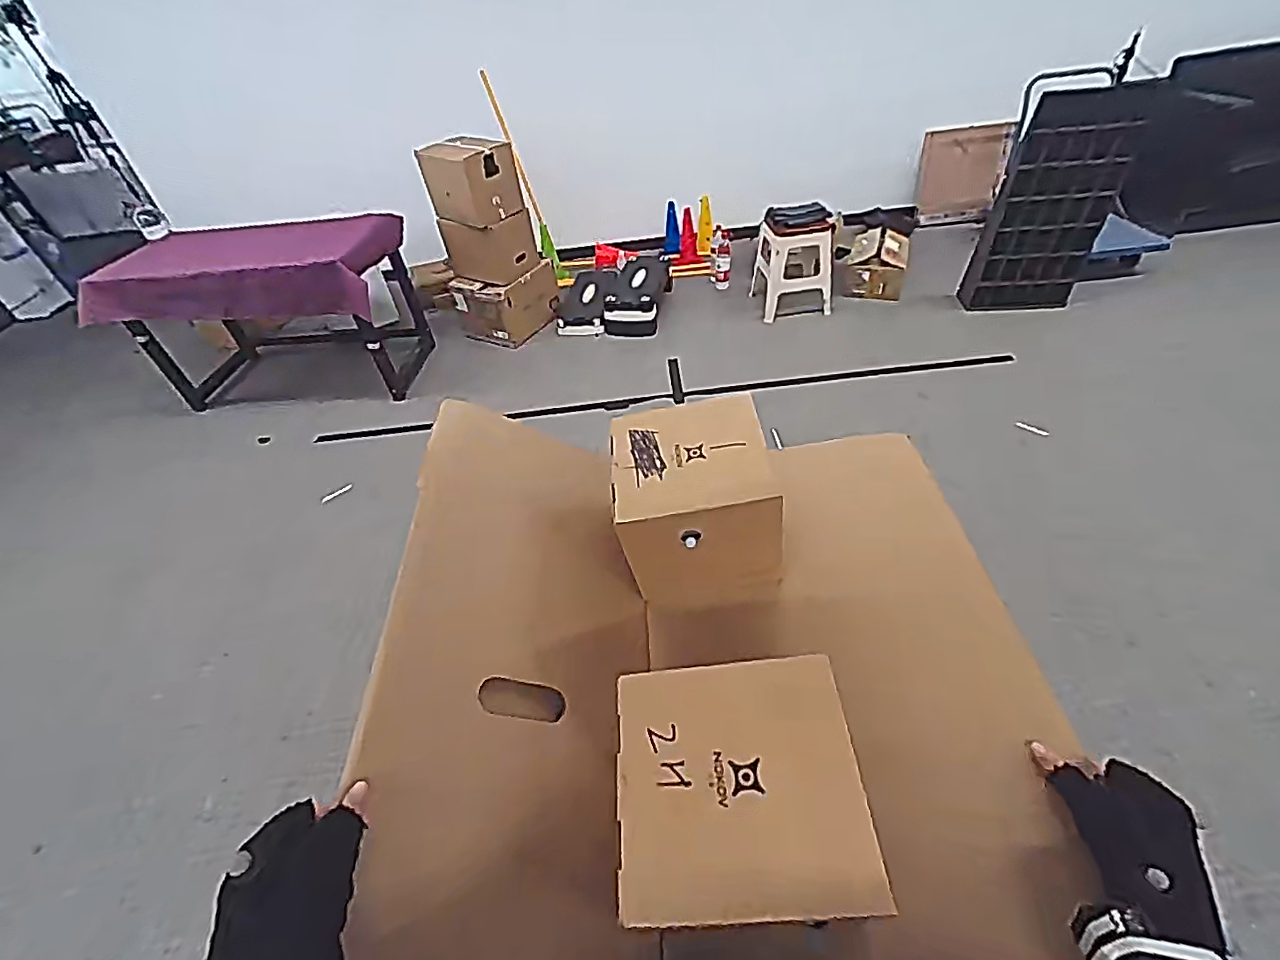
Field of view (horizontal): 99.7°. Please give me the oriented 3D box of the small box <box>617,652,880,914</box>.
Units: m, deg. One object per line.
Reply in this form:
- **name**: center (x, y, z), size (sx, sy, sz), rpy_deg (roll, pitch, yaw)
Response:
- **small box**: center (0.084, 0.266, 0.467), size (0.179, 0.176, 0.168), rpy_deg (-9, 49, 8)

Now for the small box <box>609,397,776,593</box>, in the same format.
- **small box**: center (0.066, 0.025, 0.677), size (0.179, 0.176, 0.168), rpy_deg (-10, 49, 6)
